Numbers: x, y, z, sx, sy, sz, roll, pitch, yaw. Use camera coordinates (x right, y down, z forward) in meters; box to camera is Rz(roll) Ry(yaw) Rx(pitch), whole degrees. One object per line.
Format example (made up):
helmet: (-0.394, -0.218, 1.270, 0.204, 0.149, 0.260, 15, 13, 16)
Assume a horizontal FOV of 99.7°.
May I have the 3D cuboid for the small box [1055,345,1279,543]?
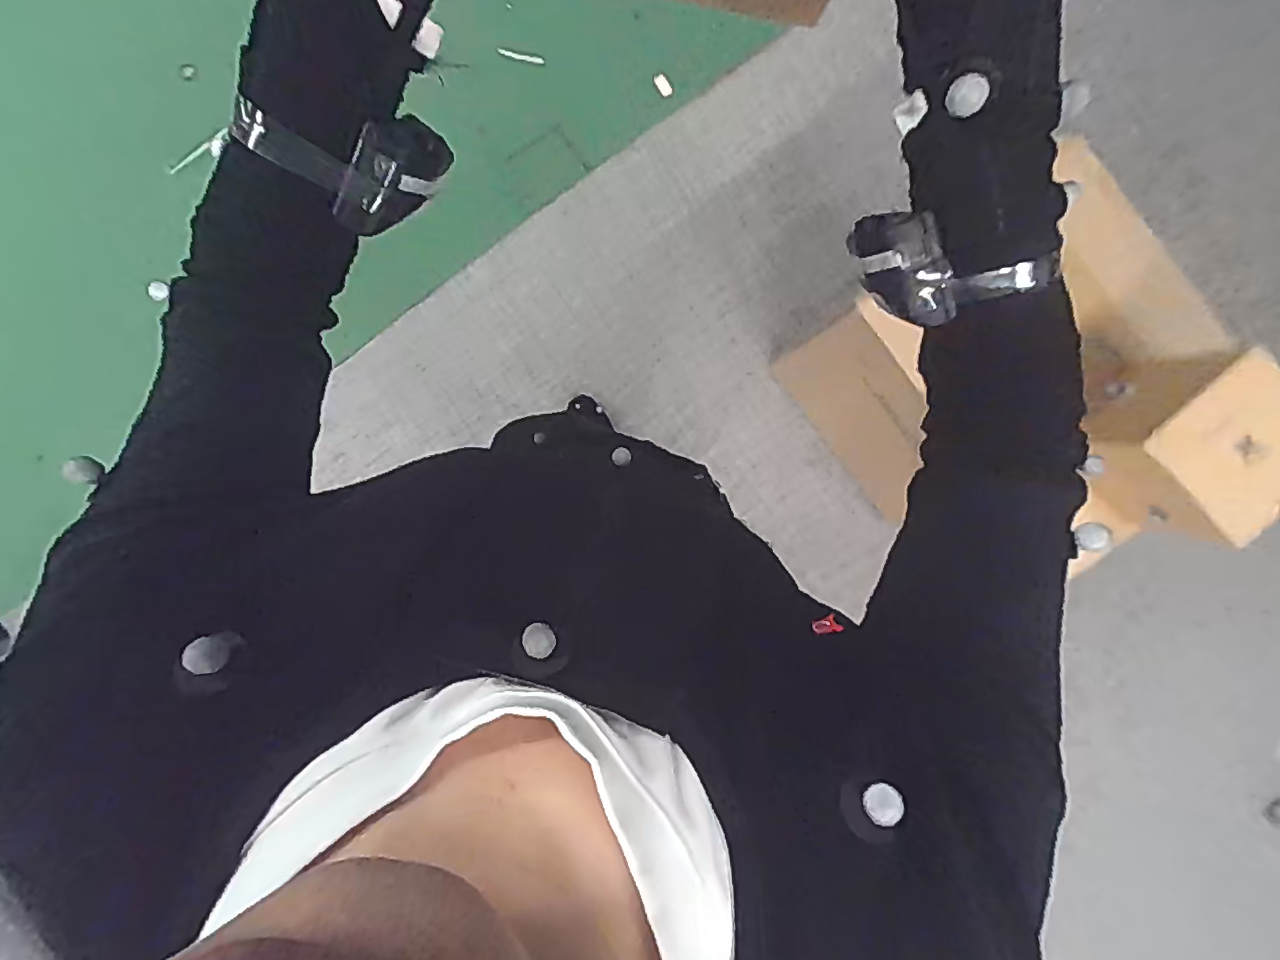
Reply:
small box: (0.712, -0.048, 0.705, 0.179, 0.176, 0.168, 45, 97, 0)
